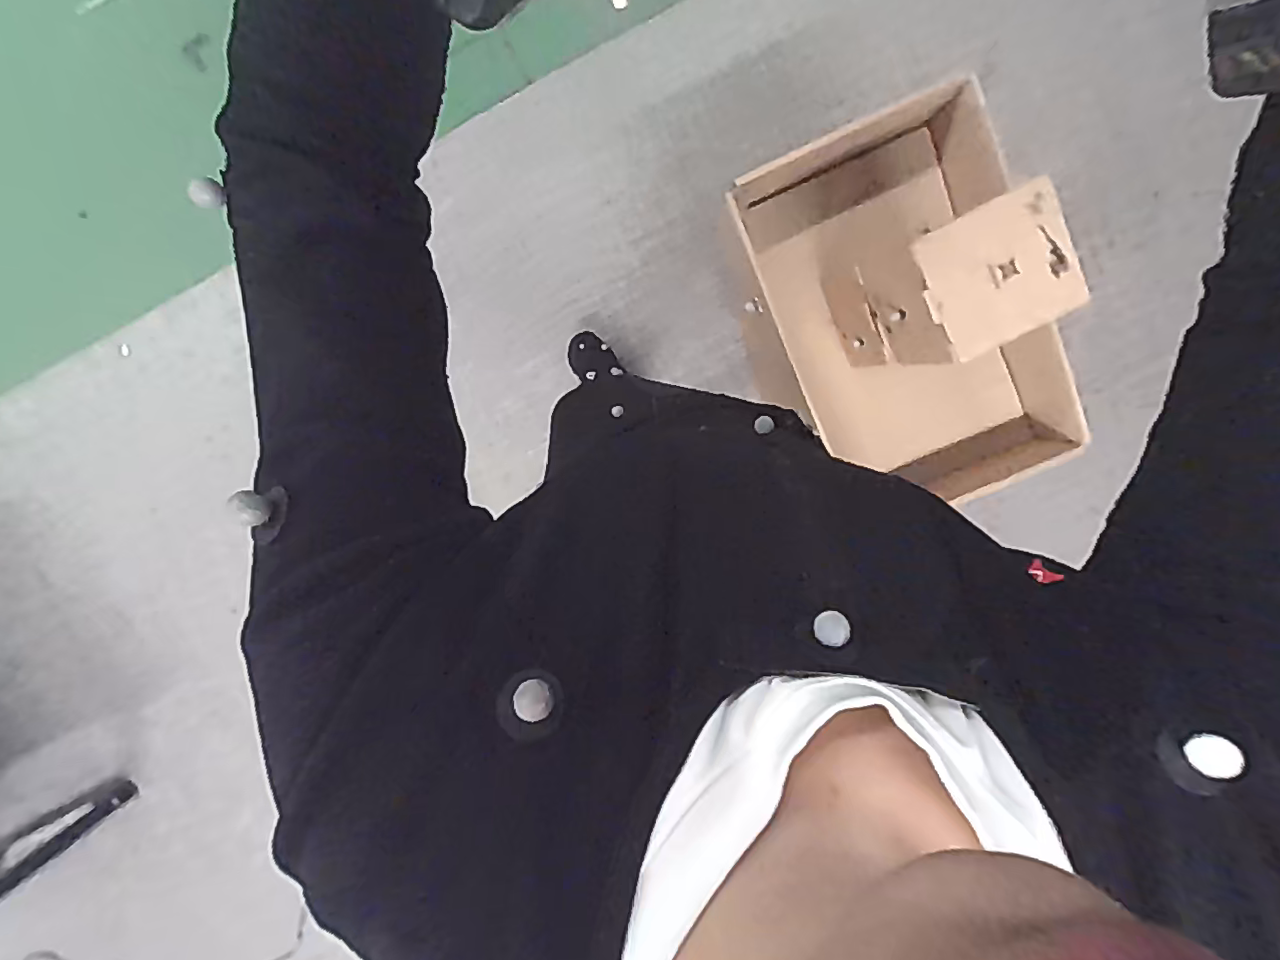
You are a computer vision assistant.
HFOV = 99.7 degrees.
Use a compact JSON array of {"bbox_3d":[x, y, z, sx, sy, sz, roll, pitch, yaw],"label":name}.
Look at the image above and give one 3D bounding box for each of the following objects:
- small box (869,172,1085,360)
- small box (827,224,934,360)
[{"bbox_3d":[0.439,-0.274,0.739,0.179,0.176,0.168,-26,101,7],"label":"small box"},{"bbox_3d":[0.432,-0.306,0.900,0.179,0.176,0.168,-24,101,4],"label":"small box"}]
